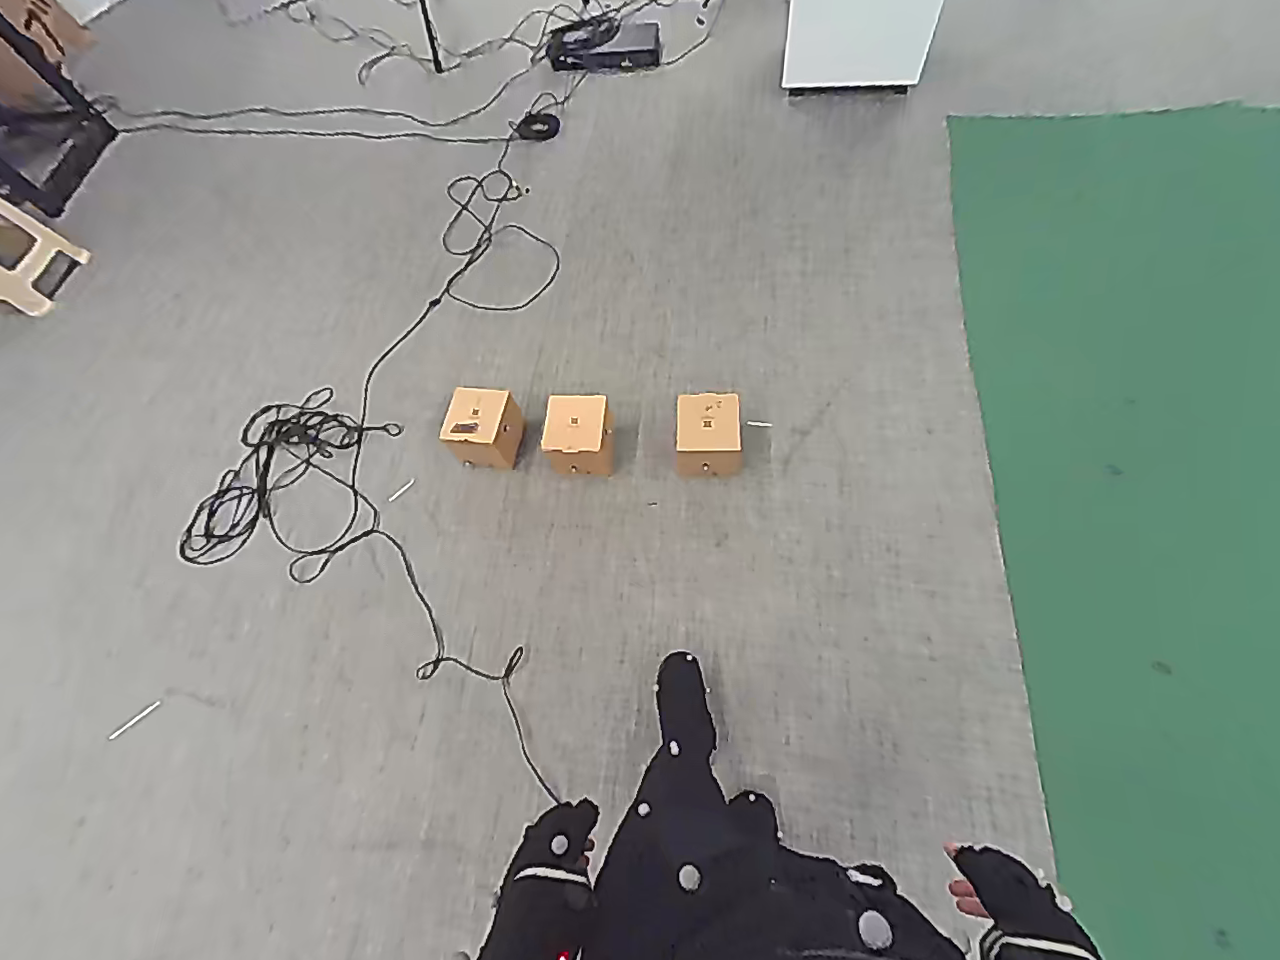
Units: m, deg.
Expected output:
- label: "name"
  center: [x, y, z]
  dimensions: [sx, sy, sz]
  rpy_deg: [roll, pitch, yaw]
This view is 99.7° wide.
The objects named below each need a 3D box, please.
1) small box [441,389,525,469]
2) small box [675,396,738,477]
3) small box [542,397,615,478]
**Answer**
- label: "small box"
  center: [-0.456, -0.147, 1.603]
  dimensions: [0.168, 0.176, 0.179]
  rpy_deg: [6, 65, 10]
- label: "small box"
  center: [0.187, -0.116, 1.510]
  dimensions: [0.168, 0.176, 0.179]
  rpy_deg: [0, 66, 6]
- label: "small box"
  center: [-0.170, -0.121, 1.558]
  dimensions: [0.168, 0.176, 0.179]
  rpy_deg: [1, 66, 8]
